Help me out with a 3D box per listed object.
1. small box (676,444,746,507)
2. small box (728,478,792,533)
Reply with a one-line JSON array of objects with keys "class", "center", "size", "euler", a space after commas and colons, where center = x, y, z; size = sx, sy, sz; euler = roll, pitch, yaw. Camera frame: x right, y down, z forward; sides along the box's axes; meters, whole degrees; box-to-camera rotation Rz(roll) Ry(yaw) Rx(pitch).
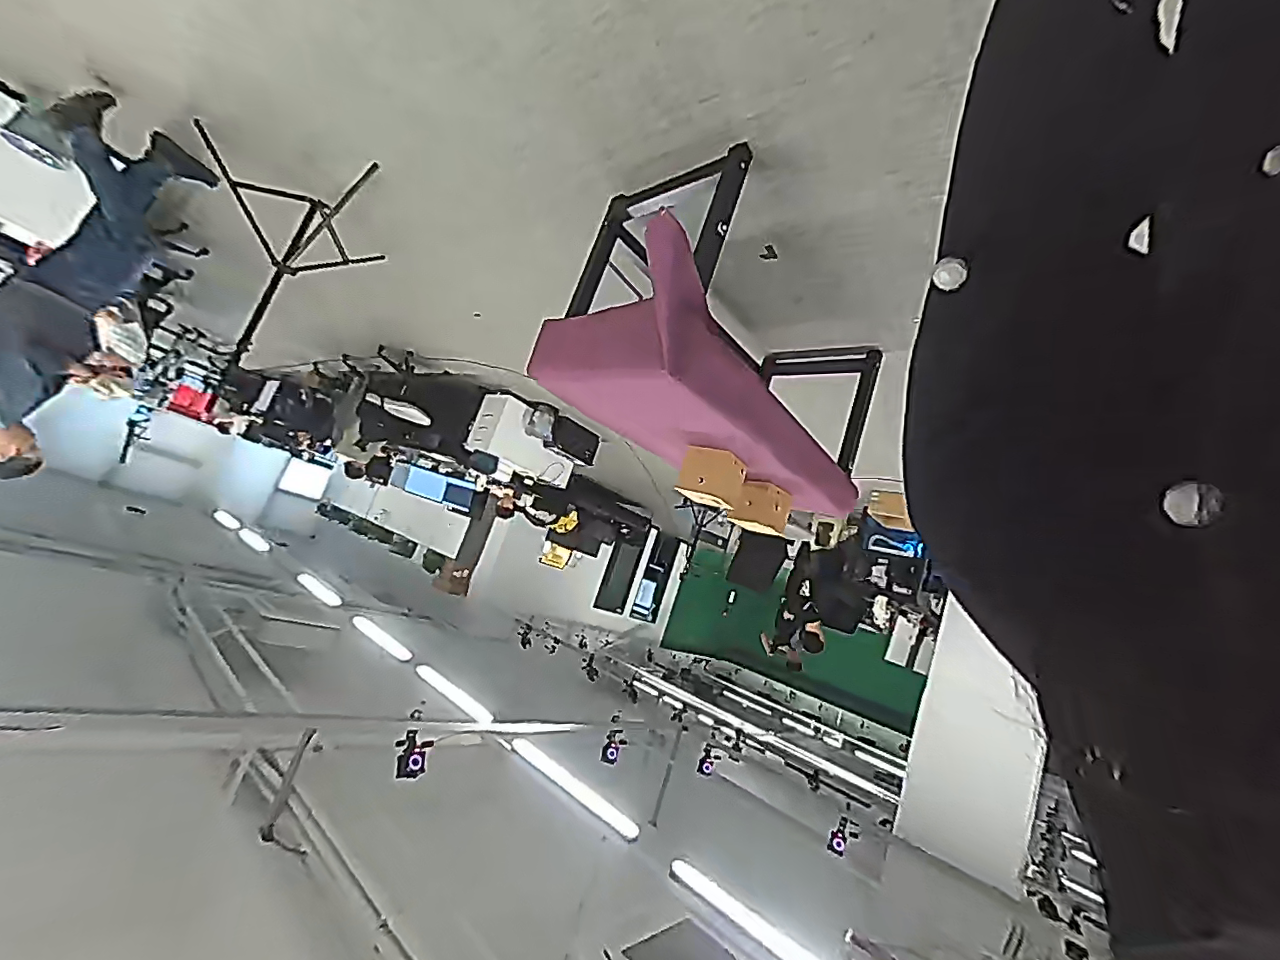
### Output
[{"class": "small box", "center": [0.261, -0.019, 1.925], "size": [0.179, 0.176, 0.168], "euler": [12, 168, 38]}, {"class": "small box", "center": [0.482, 0.097, 2.140], "size": [0.168, 0.176, 0.179], "euler": [27, 167, -35]}]
